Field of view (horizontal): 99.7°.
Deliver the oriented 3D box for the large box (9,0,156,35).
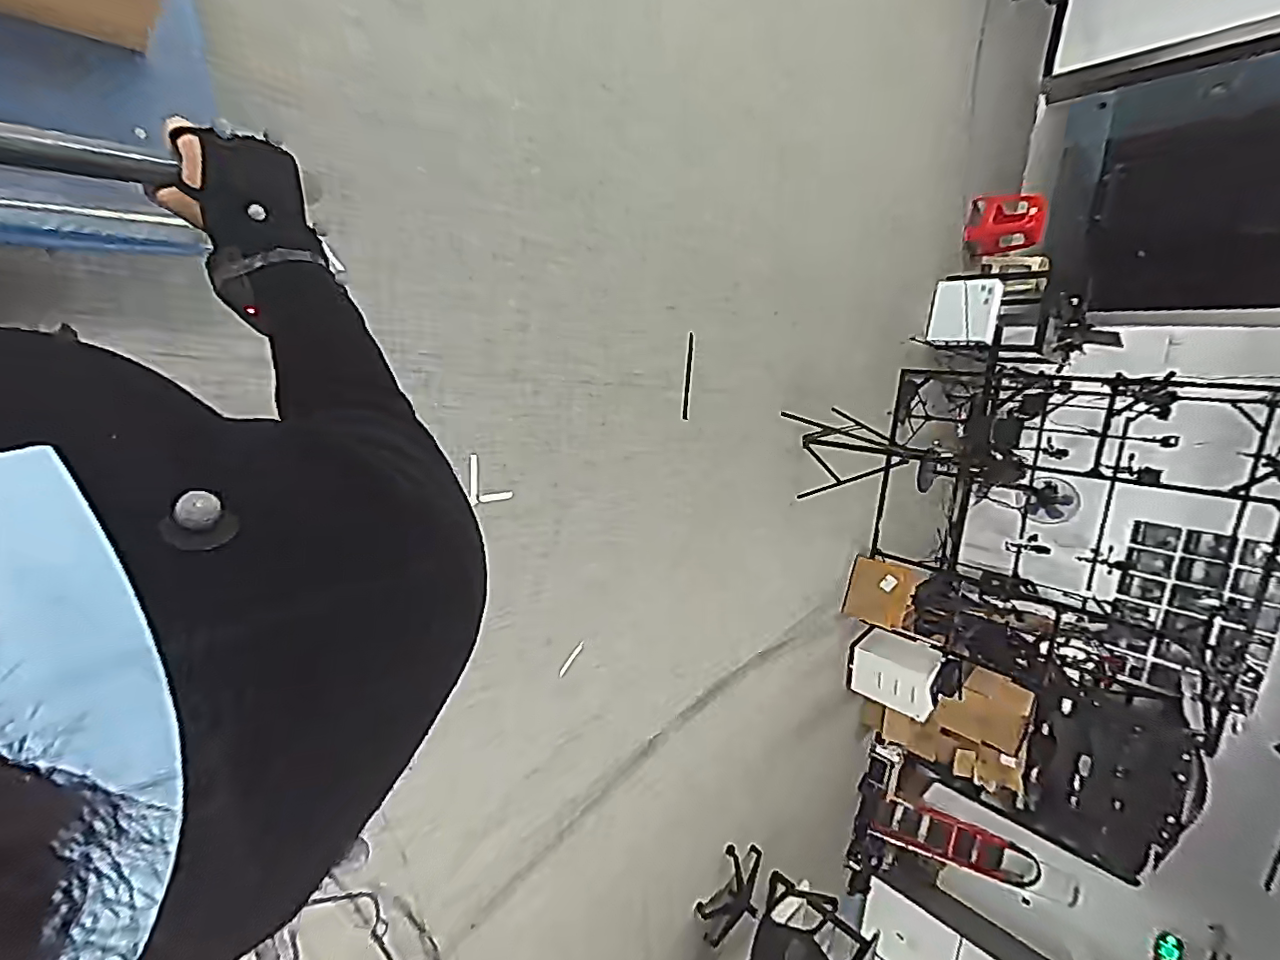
[{"bbox_3d":[-0.864,-0.814,0.632,0.408,0.320,0.320,-14,111,-43],"label":"large box"}]
